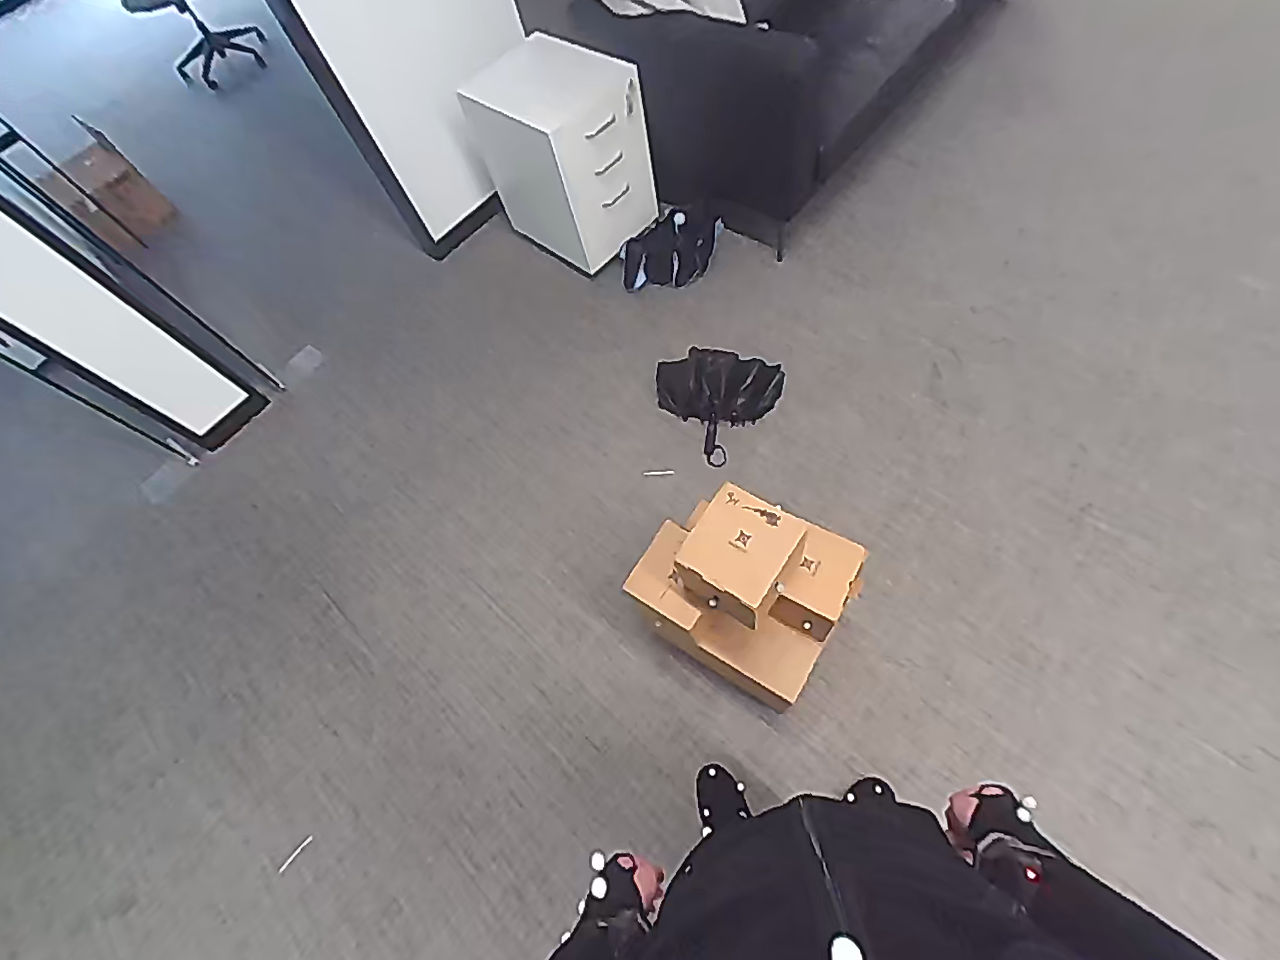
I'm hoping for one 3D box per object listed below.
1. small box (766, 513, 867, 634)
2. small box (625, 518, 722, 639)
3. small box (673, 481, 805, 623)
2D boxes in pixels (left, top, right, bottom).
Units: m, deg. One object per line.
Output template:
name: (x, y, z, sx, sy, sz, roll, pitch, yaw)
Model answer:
small box: (0.340, 0.201, 1.122, 0.179, 0.176, 0.168, 24, 67, 23)
small box: (0.094, 0.216, 1.161, 0.168, 0.176, 0.179, 29, 75, 23)
small box: (0.186, 0.139, 0.994, 0.168, 0.176, 0.179, 30, 74, 24)
